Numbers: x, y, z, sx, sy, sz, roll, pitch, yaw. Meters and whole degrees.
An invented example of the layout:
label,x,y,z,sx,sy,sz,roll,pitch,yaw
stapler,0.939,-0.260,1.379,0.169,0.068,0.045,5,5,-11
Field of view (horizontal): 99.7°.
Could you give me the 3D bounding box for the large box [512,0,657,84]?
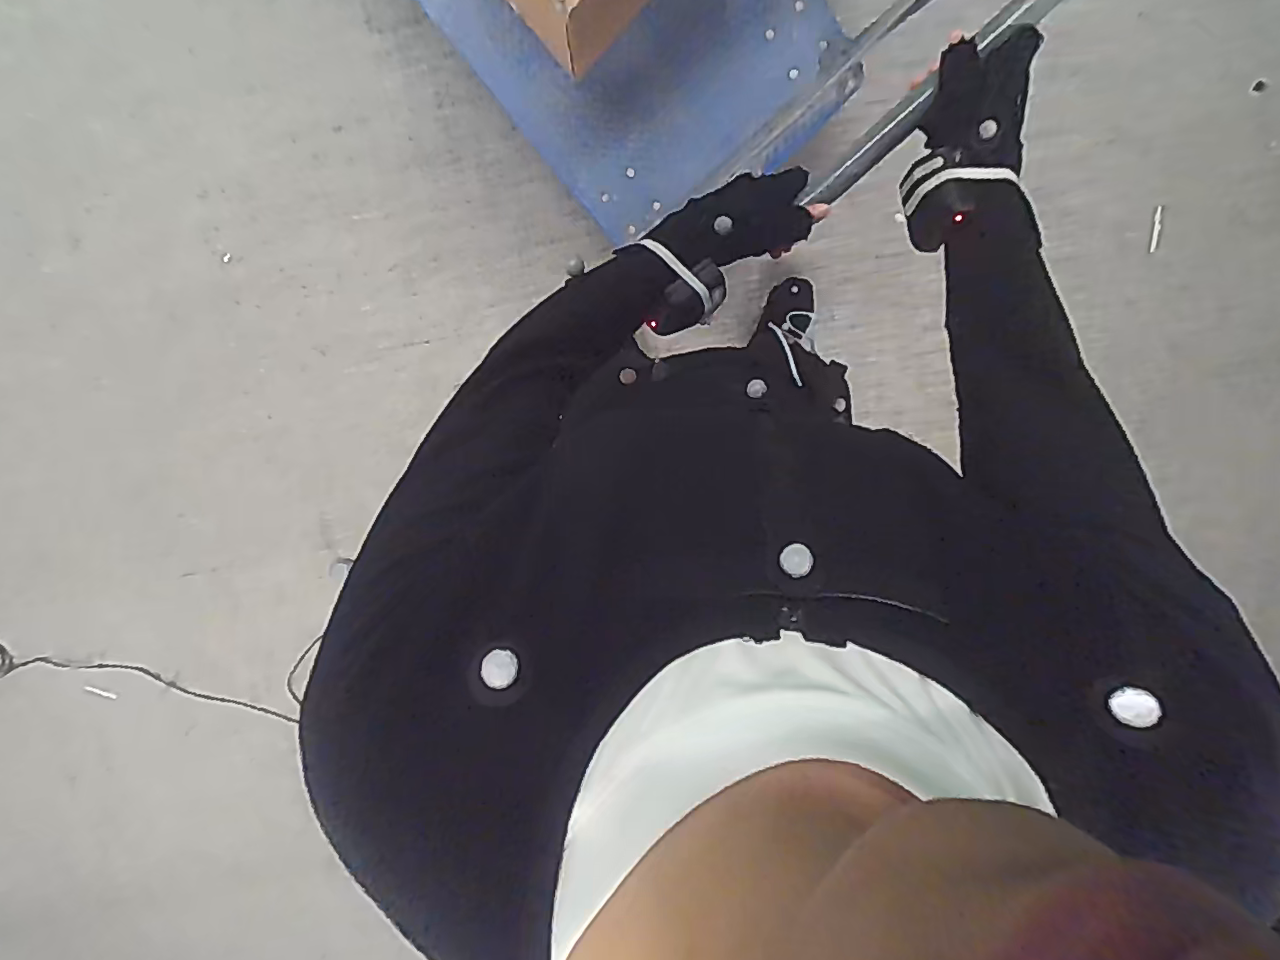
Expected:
label,x,y,z,sx,sy,sz,roll,pitch,yaw
large box,-0.061,-0.934,0.819,0.408,0.320,0.320,-43,107,13
